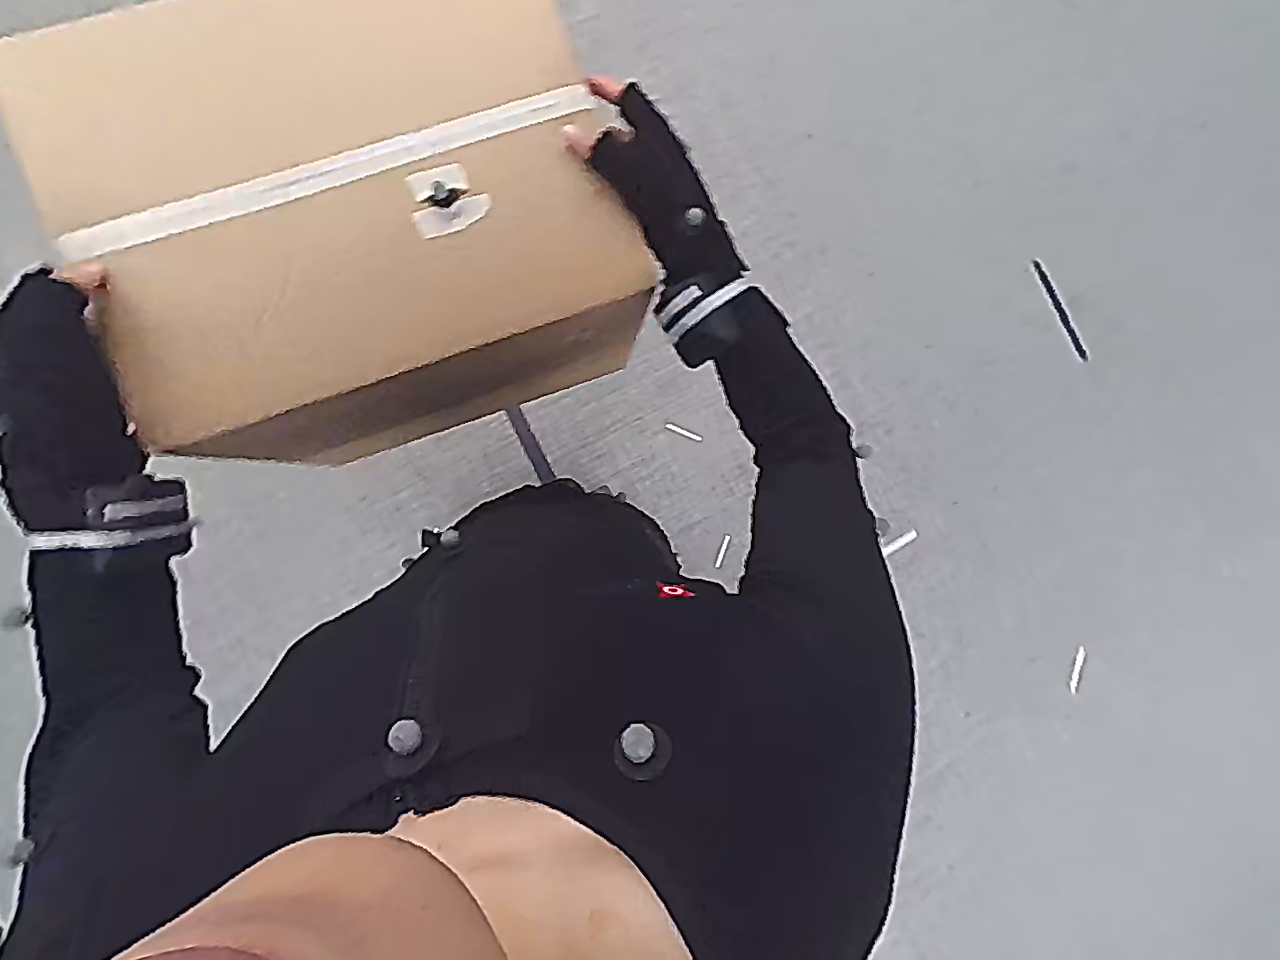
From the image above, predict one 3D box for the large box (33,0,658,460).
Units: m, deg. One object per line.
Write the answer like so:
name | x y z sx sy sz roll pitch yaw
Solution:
large box | -0.237 -0.239 0.575 0.408 0.320 0.320 -21 92 -7
